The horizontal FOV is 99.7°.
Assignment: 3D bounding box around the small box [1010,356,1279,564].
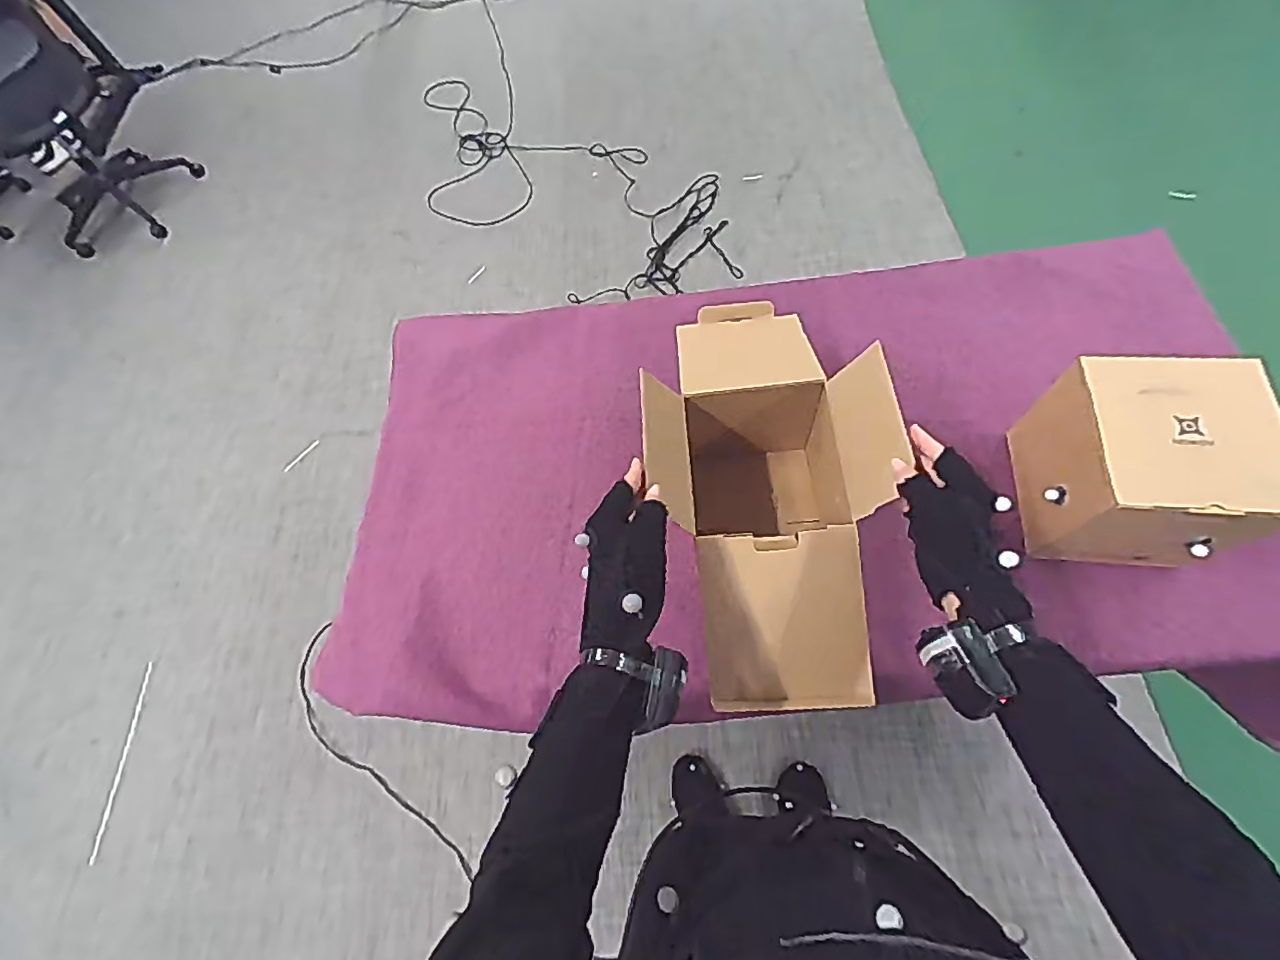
[{"bbox_3d":[0.545,-0.015,0.599,0.168,0.176,0.179,4,65,10],"label":"small box"}]
